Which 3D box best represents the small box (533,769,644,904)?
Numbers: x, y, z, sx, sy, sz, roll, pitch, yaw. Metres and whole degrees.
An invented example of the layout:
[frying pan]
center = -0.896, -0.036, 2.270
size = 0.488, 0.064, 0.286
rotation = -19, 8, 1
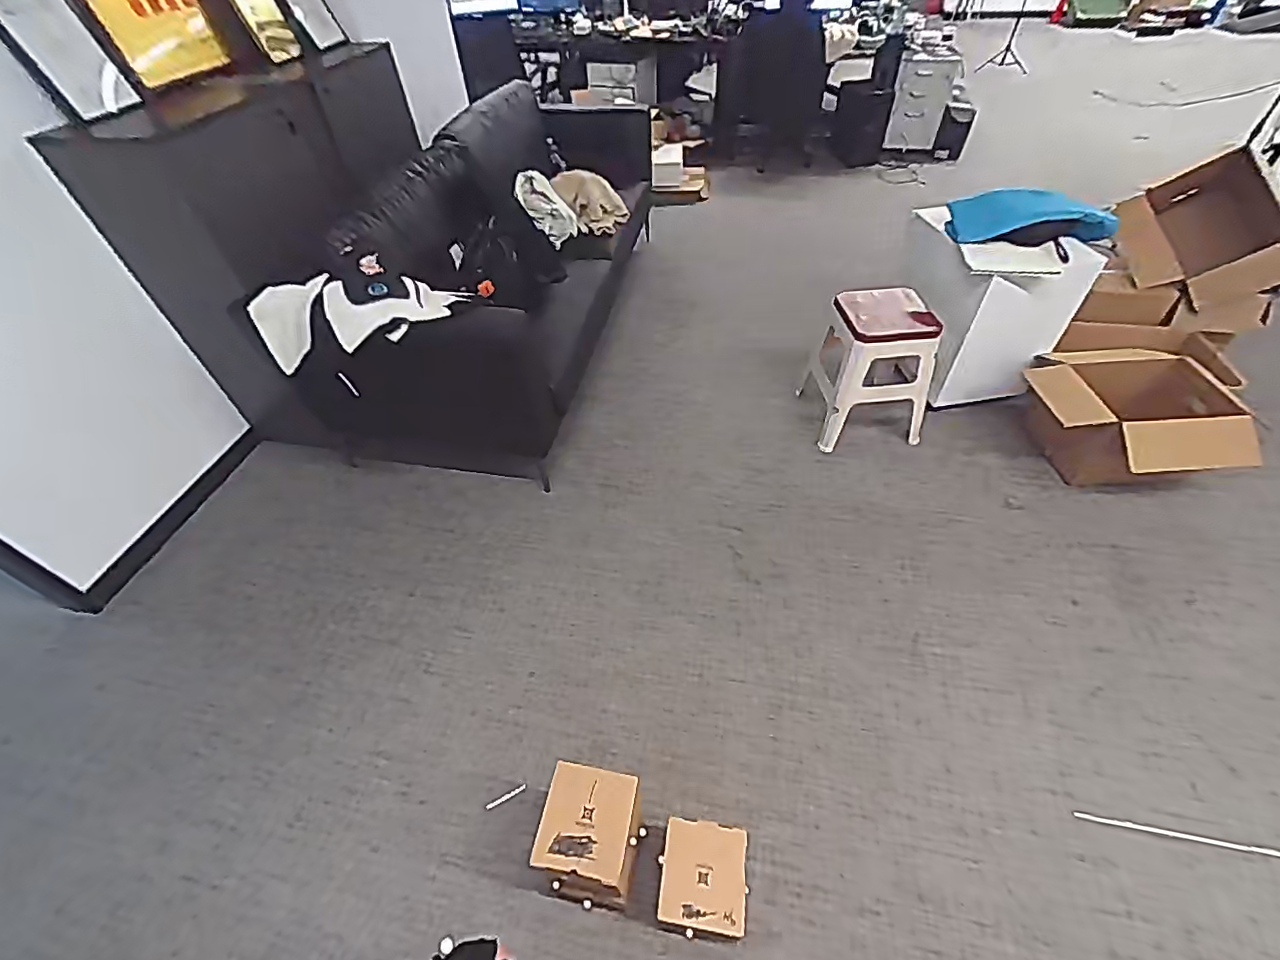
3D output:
[small box]
center = -0.088, 0.689, 1.042
size = 0.168, 0.176, 0.179
rotation = 6, 47, 10
